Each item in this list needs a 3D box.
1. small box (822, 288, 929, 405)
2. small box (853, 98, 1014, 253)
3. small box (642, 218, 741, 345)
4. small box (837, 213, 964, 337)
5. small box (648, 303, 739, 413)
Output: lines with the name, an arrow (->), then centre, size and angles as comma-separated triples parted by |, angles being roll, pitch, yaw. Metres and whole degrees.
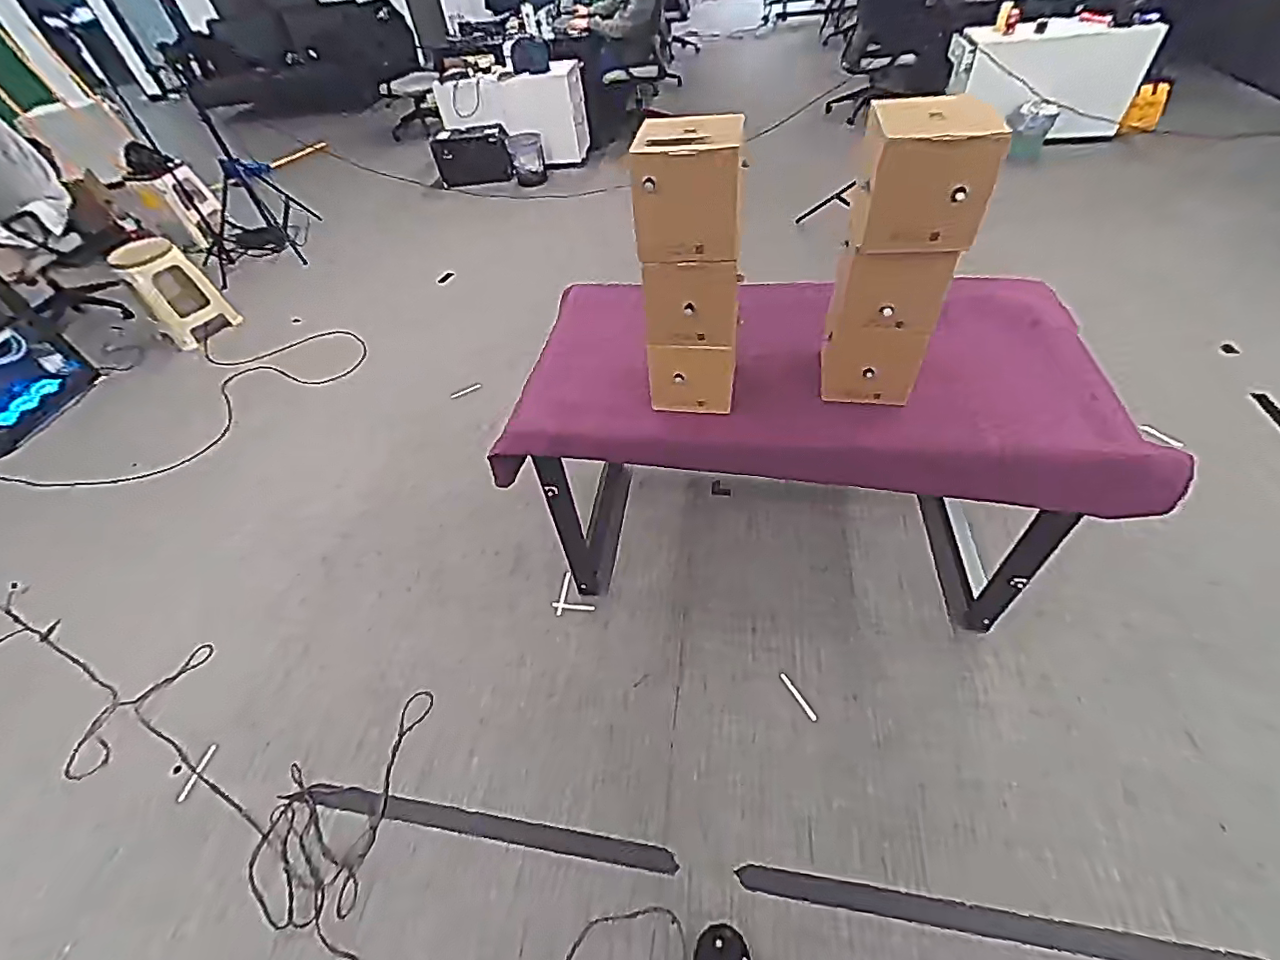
small box -> 0.472, -0.273, 1.108 | 0.168, 0.176, 0.179 | 6, 49, 12
small box -> 0.444, -0.474, 0.851 | 0.168, 0.176, 0.179 | 4, 49, 9
small box -> 0.103, -0.371, 1.021 | 0.168, 0.176, 0.179 | 3, 49, 9
small box -> 0.461, -0.384, 0.987 | 0.168, 0.176, 0.179 | 5, 50, 12
small box -> 0.118, -0.257, 1.138 | 0.168, 0.176, 0.179 | 4, 48, 10
